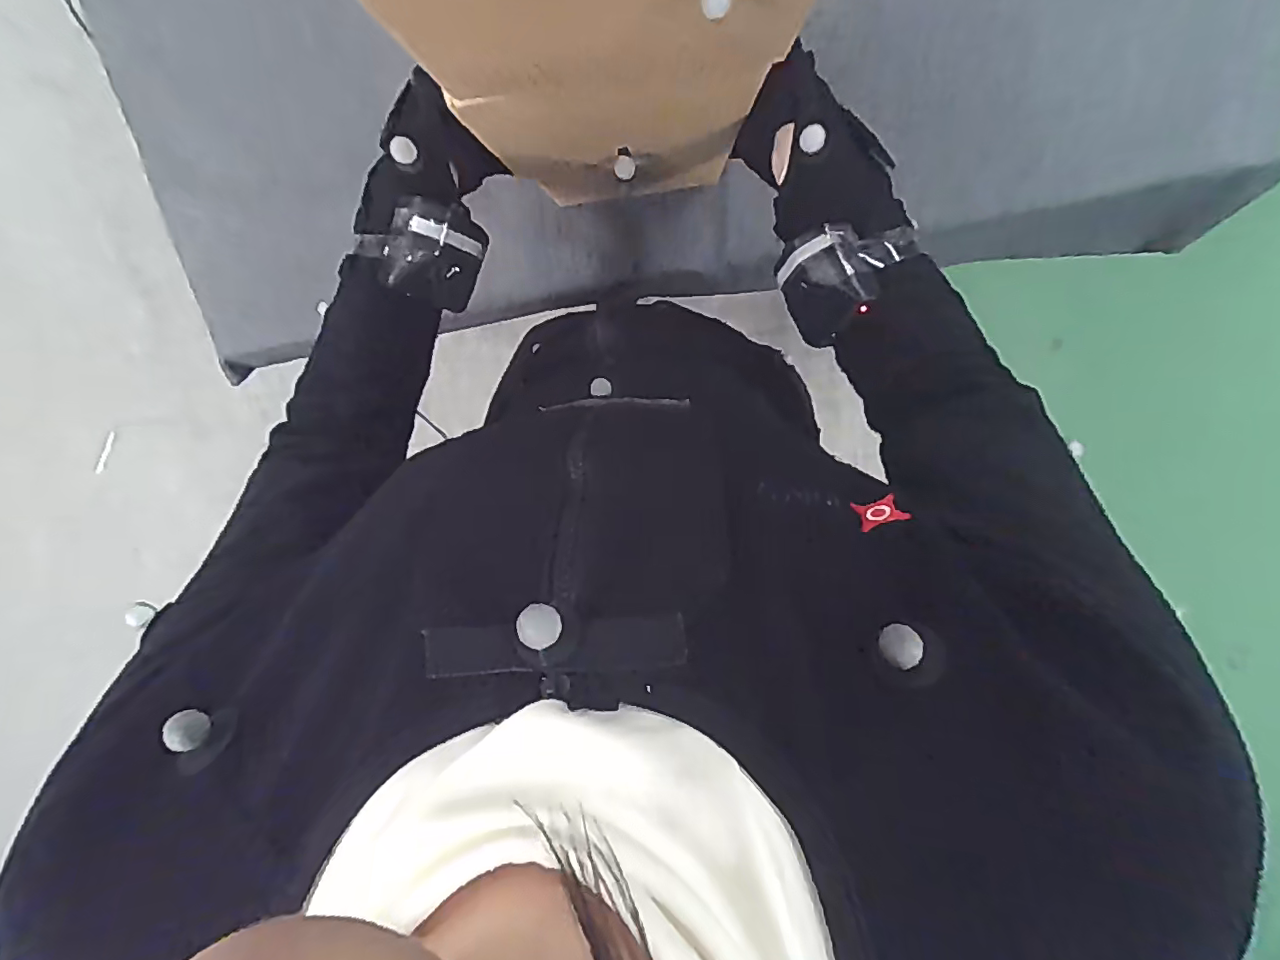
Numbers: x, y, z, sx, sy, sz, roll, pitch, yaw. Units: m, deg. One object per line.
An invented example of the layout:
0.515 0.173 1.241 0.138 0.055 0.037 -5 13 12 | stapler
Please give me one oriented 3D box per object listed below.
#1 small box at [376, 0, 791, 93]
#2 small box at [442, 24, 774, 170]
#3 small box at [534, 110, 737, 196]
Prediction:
-0.022 -0.264 0.181 0.179 0.176 0.168 -5 106 5 | small box
-0.025 -0.312 0.336 0.179 0.176 0.168 -6 106 3 | small box
-0.015 -0.371 0.488 0.179 0.176 0.168 -6 107 5 | small box
